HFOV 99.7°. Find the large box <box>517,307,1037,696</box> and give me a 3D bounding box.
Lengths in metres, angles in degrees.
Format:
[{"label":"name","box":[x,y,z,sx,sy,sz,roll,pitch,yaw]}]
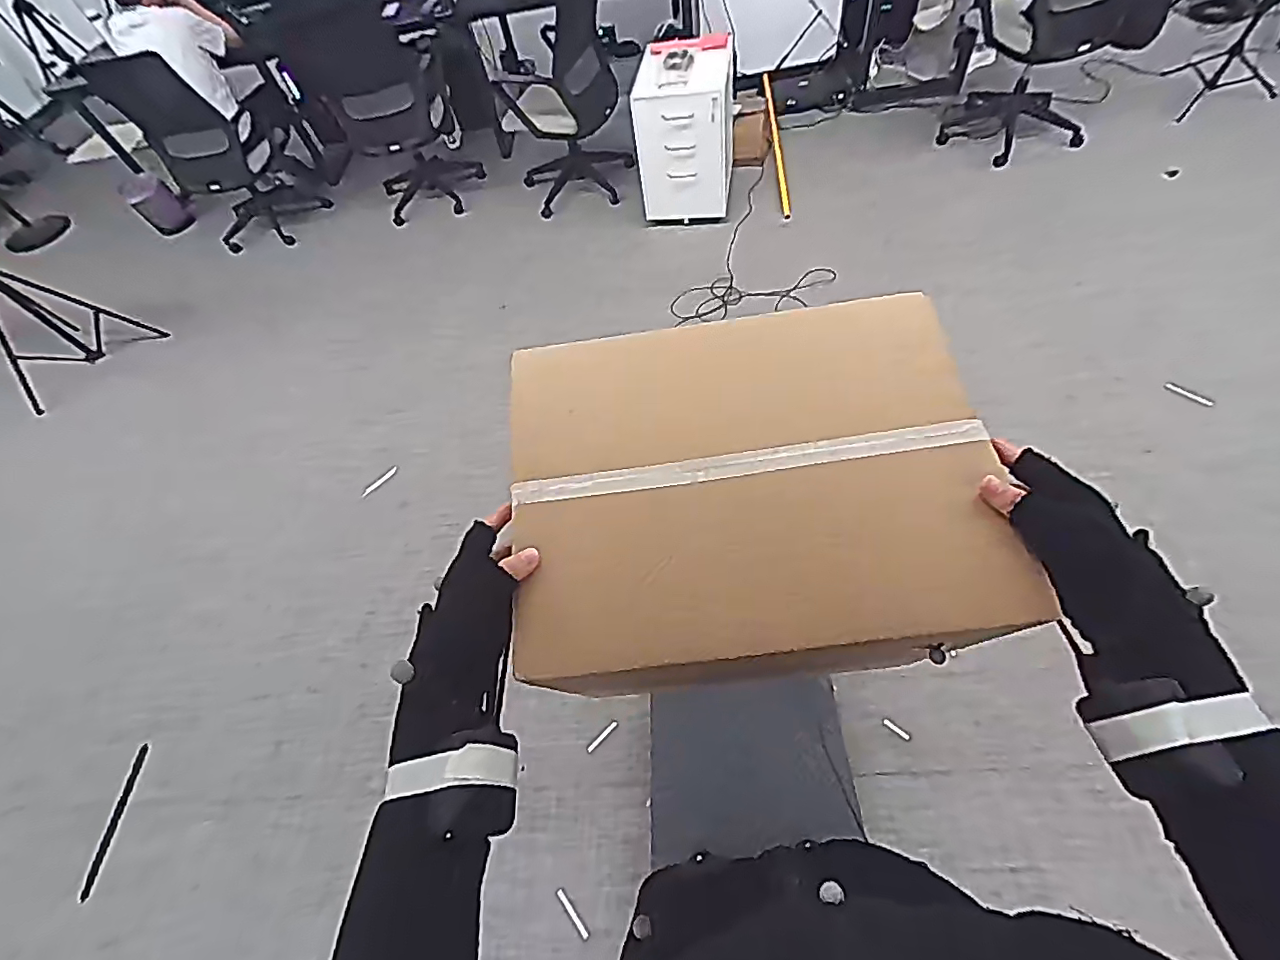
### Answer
[{"label":"large box","box":[0.104,0.054,0.609,0.408,0.320,0.320,-7,65,2]}]
